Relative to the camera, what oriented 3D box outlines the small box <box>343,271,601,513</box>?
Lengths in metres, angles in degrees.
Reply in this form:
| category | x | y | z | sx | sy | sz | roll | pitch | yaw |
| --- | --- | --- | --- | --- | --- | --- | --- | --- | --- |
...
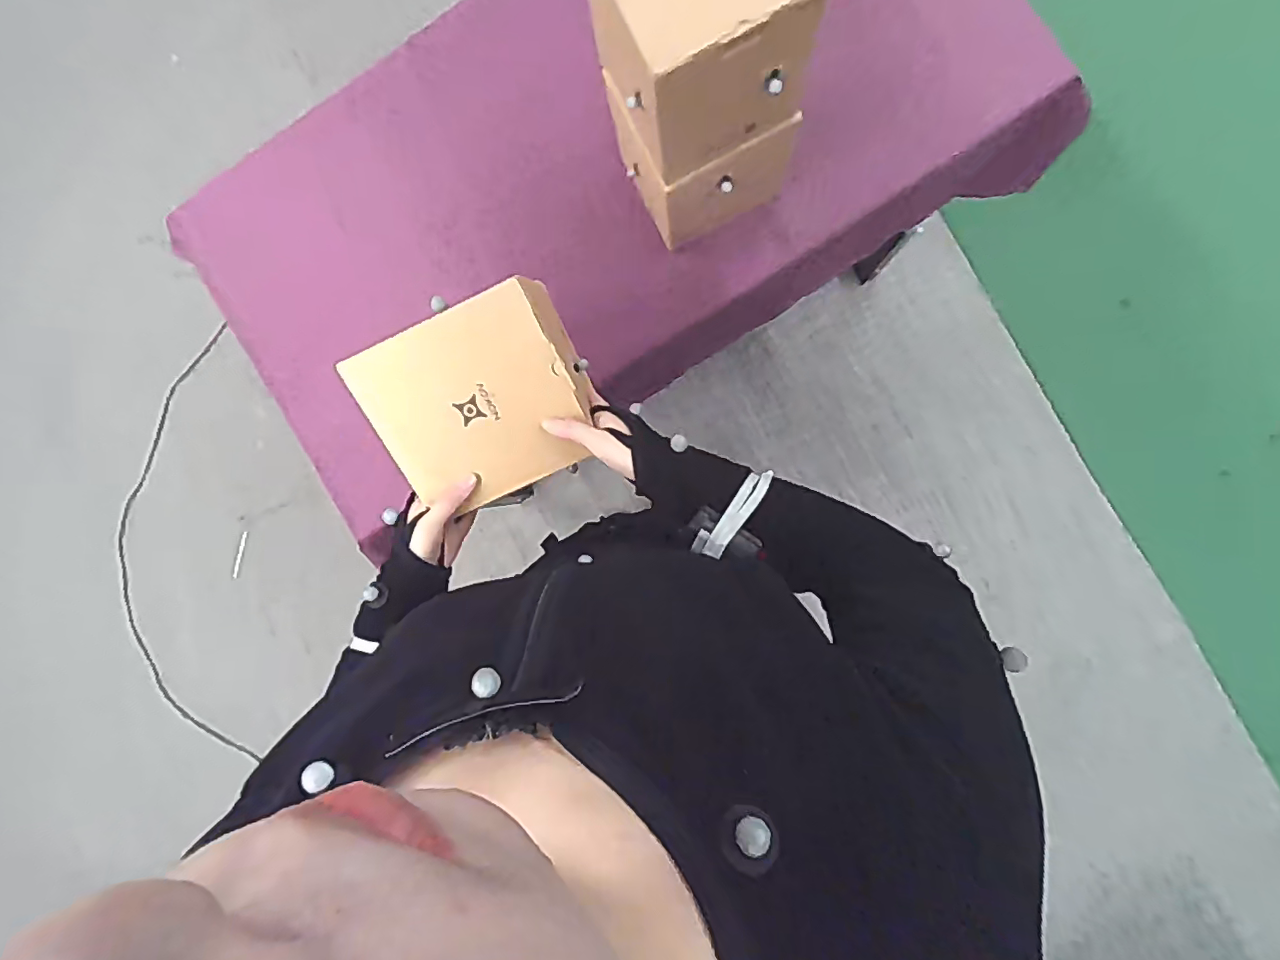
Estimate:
| category | x | y | z | sx | sy | sz | roll | pitch | yaw |
| --- | --- | --- | --- | --- | --- | --- | --- | --- | --- |
| small box | -0.150 | -0.094 | 0.555 | 0.179 | 0.176 | 0.168 | -24 | 107 | 4 |

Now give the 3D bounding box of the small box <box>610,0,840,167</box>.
| category | x | y | z | sx | sy | sz | roll | pitch | yaw |
| --- | --- | --- | --- | --- | --- | --- | --- | --- | --- |
| small box | 0.074 | -0.446 | 0.528 | 0.168 | 0.176 | 0.179 | -24 | 87 | 5 |

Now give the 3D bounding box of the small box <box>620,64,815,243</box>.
| category | x | y | z | sx | sy | sz | roll | pitch | yaw |
| --- | --- | --- | --- | --- | --- | --- | --- | --- | --- |
| small box | 0.096 | -0.438 | 0.690 | 0.179 | 0.176 | 0.168 | -24 | 88 | 6 |
